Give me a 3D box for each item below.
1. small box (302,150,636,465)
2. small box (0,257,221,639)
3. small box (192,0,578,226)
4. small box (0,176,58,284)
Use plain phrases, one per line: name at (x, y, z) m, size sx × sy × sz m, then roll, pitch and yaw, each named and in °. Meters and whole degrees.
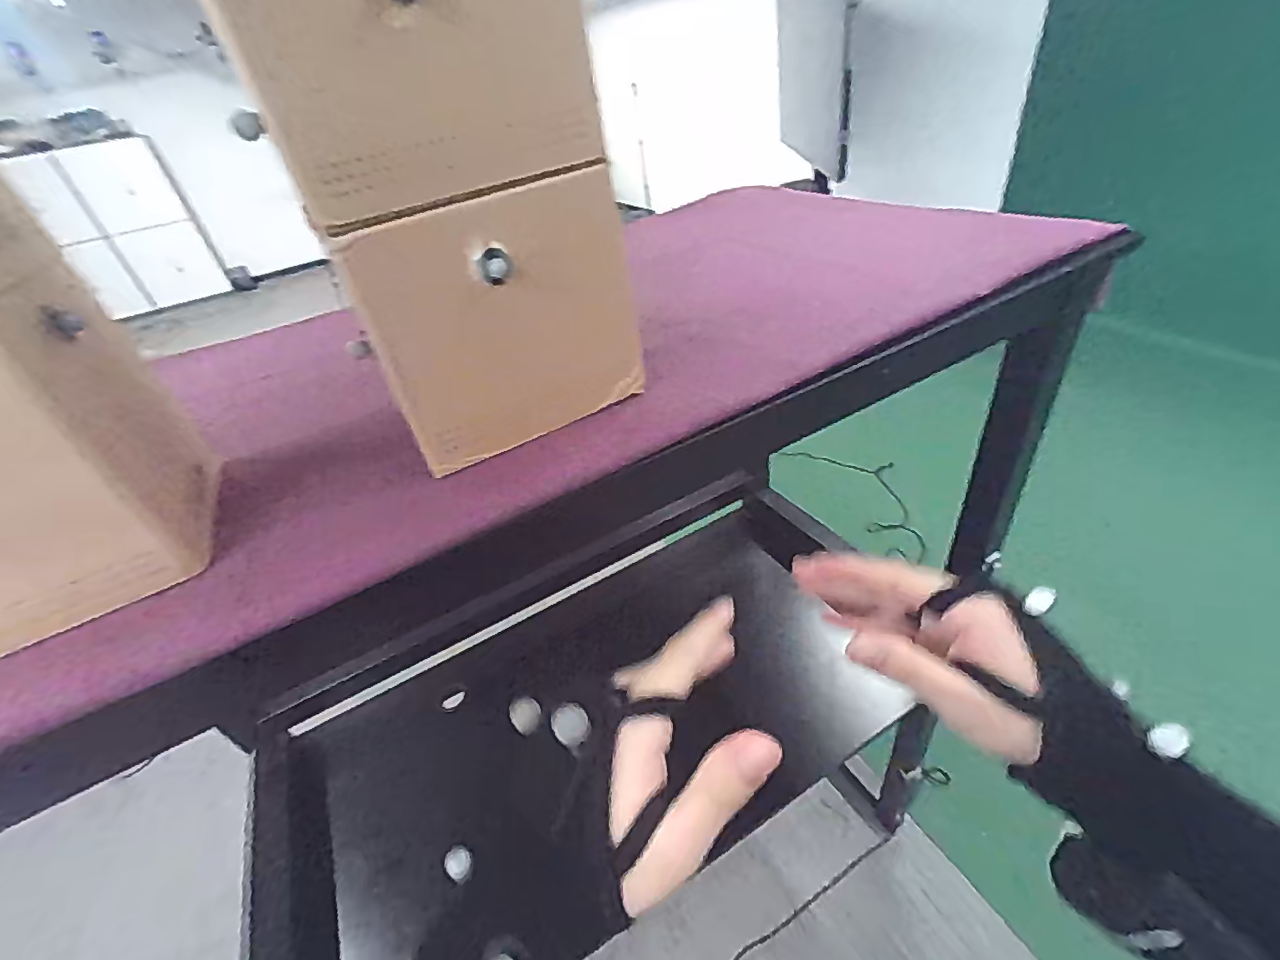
small box at (-0.123, -0.136, 0.412) m, size 0.179 × 0.176 × 0.168 m, roll -26°, pitch 39°, yaw -19°
small box at (-0.396, -0.010, 0.315) m, size 0.179 × 0.176 × 0.168 m, roll -27°, pitch 39°, yaw -19°
small box at (-0.150, -0.266, 0.316) m, size 0.179 × 0.176 × 0.168 m, roll -27°, pitch 39°, yaw -18°
small box at (-0.425, -0.141, 0.221) m, size 0.179 × 0.176 × 0.168 m, roll -26°, pitch 38°, yaw -21°
